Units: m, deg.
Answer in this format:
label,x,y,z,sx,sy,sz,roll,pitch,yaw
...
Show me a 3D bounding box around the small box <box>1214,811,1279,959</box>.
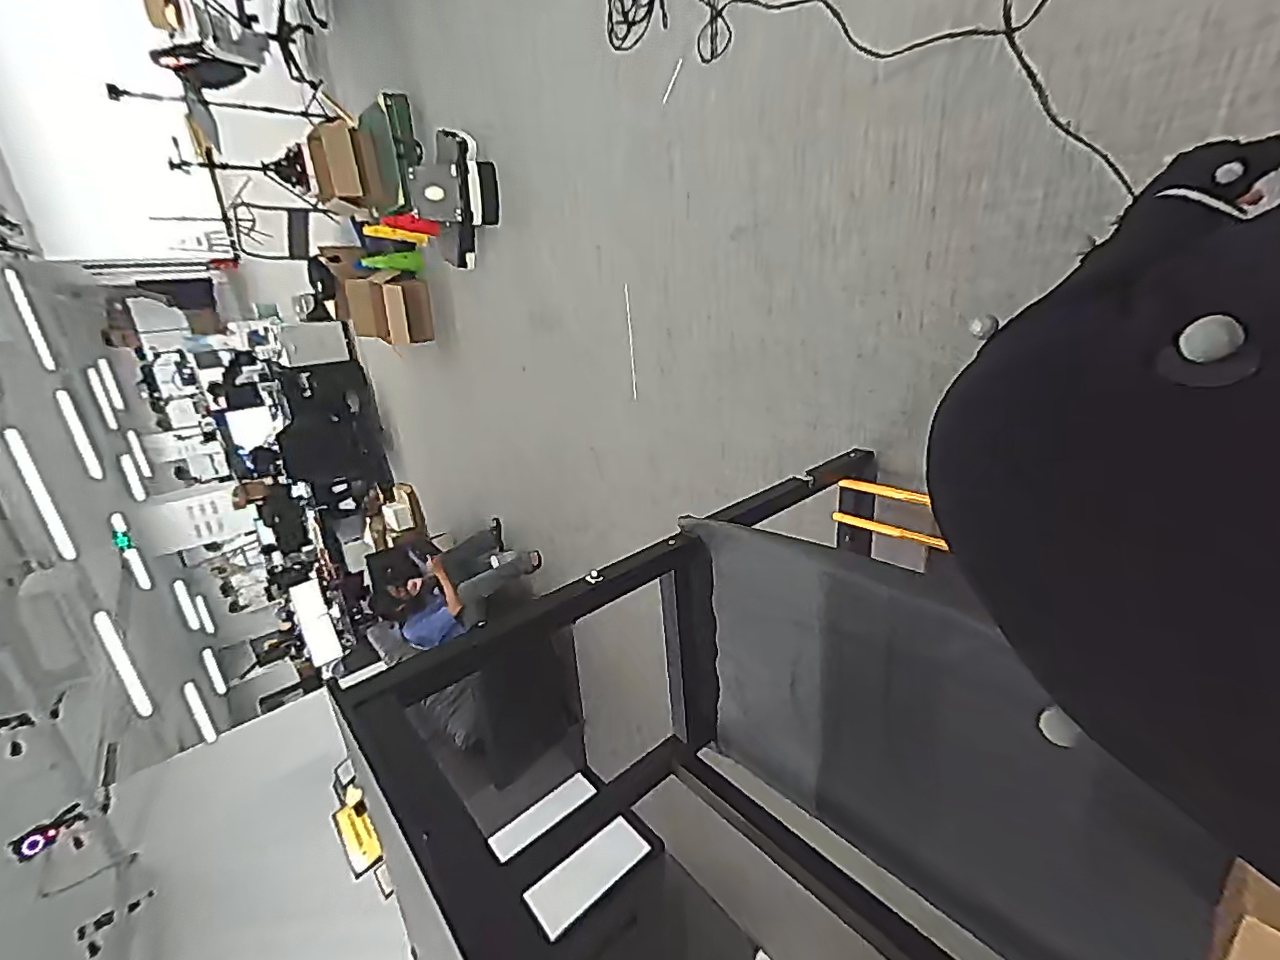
label,x,y,z,sx,sy,sz,roll,pitch,yaw
small box,0.686,0.472,0.518,0.168,0.176,0.179,16,119,48
